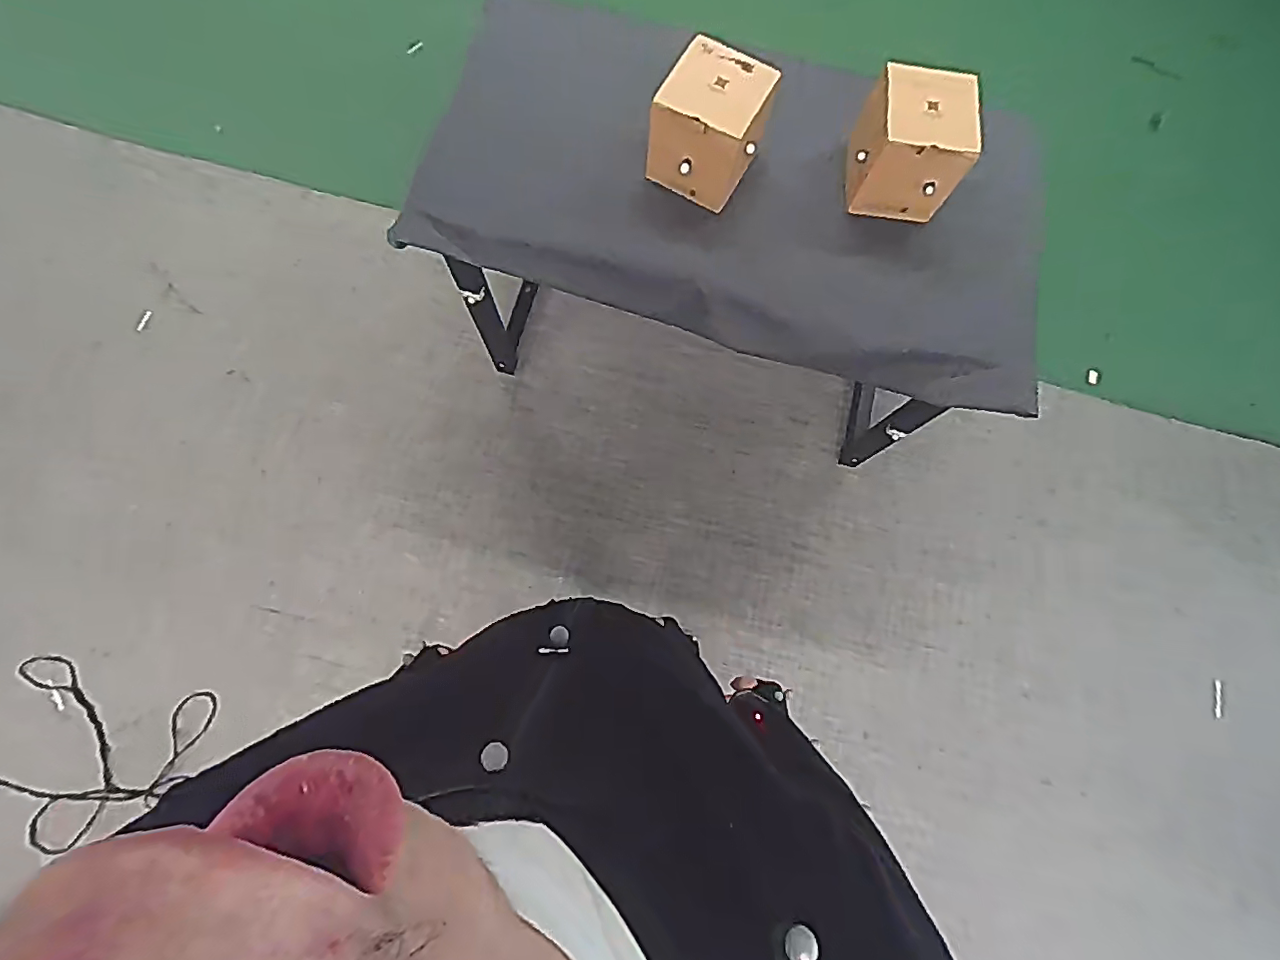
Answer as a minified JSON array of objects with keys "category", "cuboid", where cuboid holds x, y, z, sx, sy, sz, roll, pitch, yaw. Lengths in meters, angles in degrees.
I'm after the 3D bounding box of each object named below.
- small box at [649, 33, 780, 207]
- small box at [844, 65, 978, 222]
[{"category":"small box","cuboid":[0.126,-0.646,0.990,0.168,0.176,0.179,29,76,3]},{"category":"small box","cuboid":[0.496,-0.618,1.011,0.168,0.176,0.179,7,75,-4]}]
